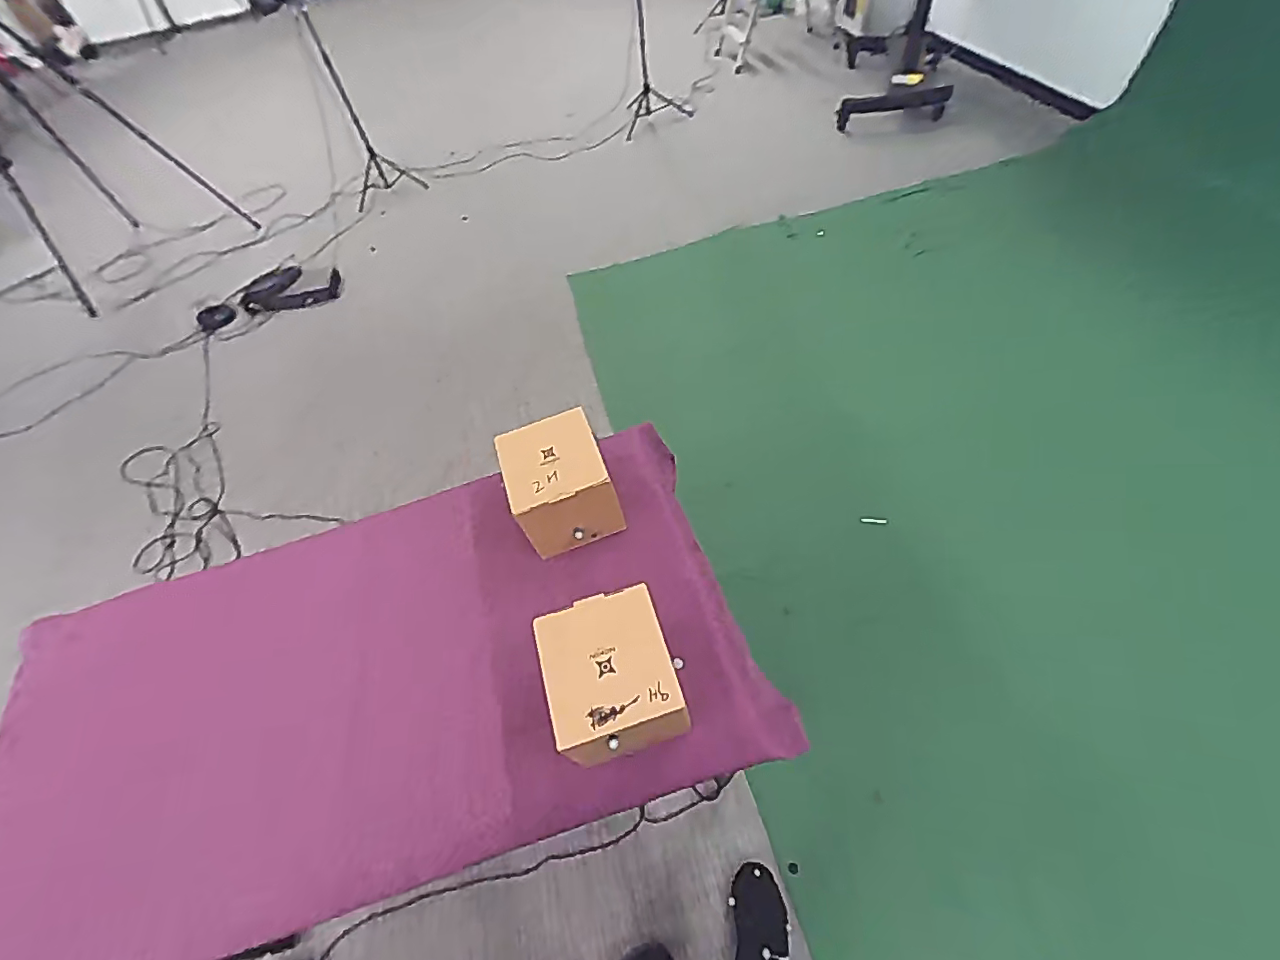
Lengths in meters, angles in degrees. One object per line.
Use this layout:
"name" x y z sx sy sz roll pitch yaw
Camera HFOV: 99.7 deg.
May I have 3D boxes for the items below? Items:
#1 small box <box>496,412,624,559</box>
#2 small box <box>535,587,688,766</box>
"small box" -0.141 0.014 0.981 0.168 0.176 0.179 -21 56 -2
"small box" -0.037 0.285 0.777 0.168 0.176 0.179 -18 55 -2
